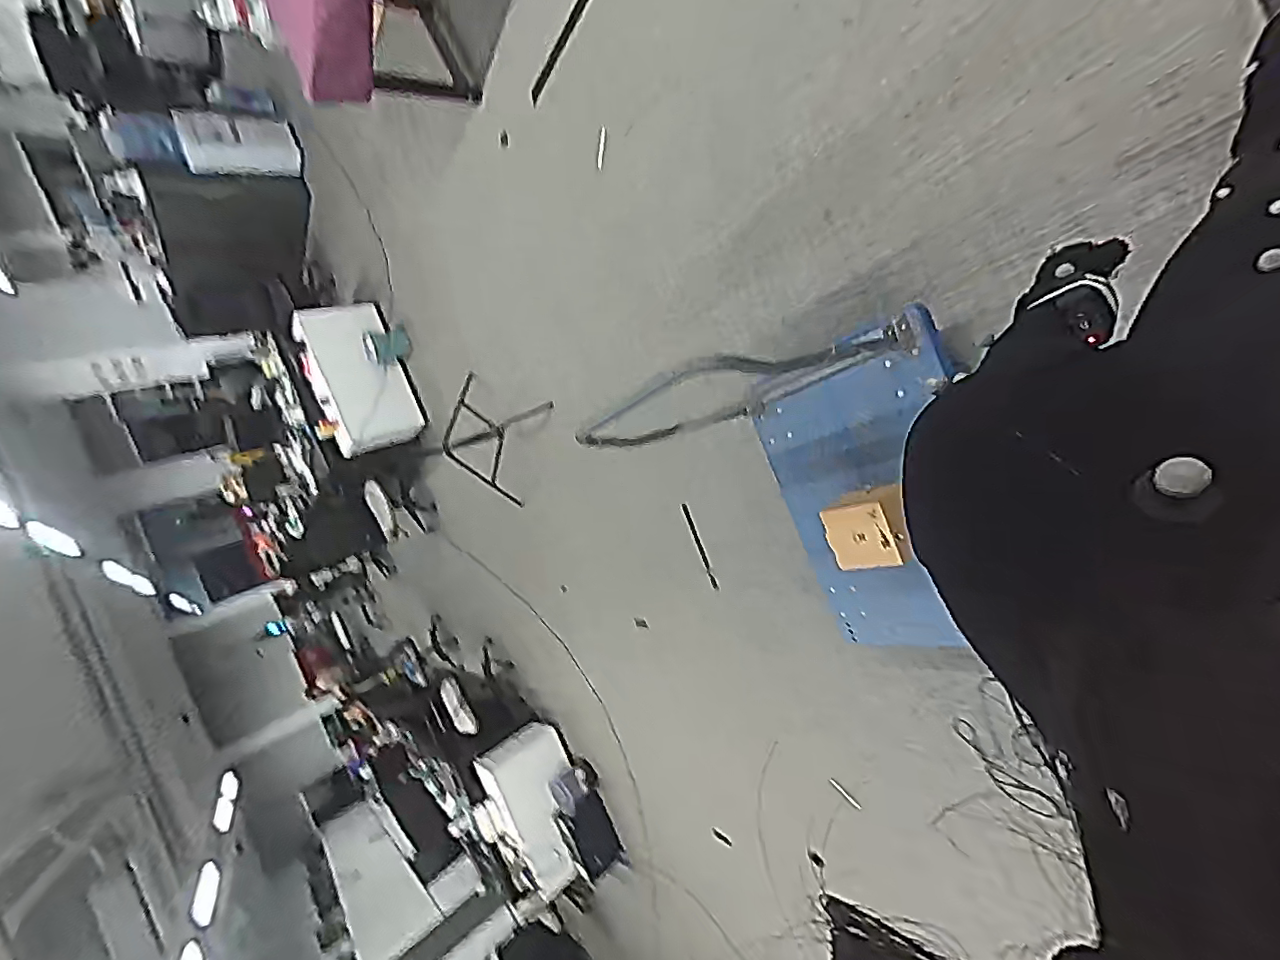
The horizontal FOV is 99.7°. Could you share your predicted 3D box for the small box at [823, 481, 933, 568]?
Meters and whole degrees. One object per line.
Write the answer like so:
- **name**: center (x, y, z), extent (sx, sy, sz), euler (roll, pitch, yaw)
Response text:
- **small box**: center (0.618, 0.117, 1.403), extent (0.179, 0.176, 0.168), euler (-20, 92, 54)
